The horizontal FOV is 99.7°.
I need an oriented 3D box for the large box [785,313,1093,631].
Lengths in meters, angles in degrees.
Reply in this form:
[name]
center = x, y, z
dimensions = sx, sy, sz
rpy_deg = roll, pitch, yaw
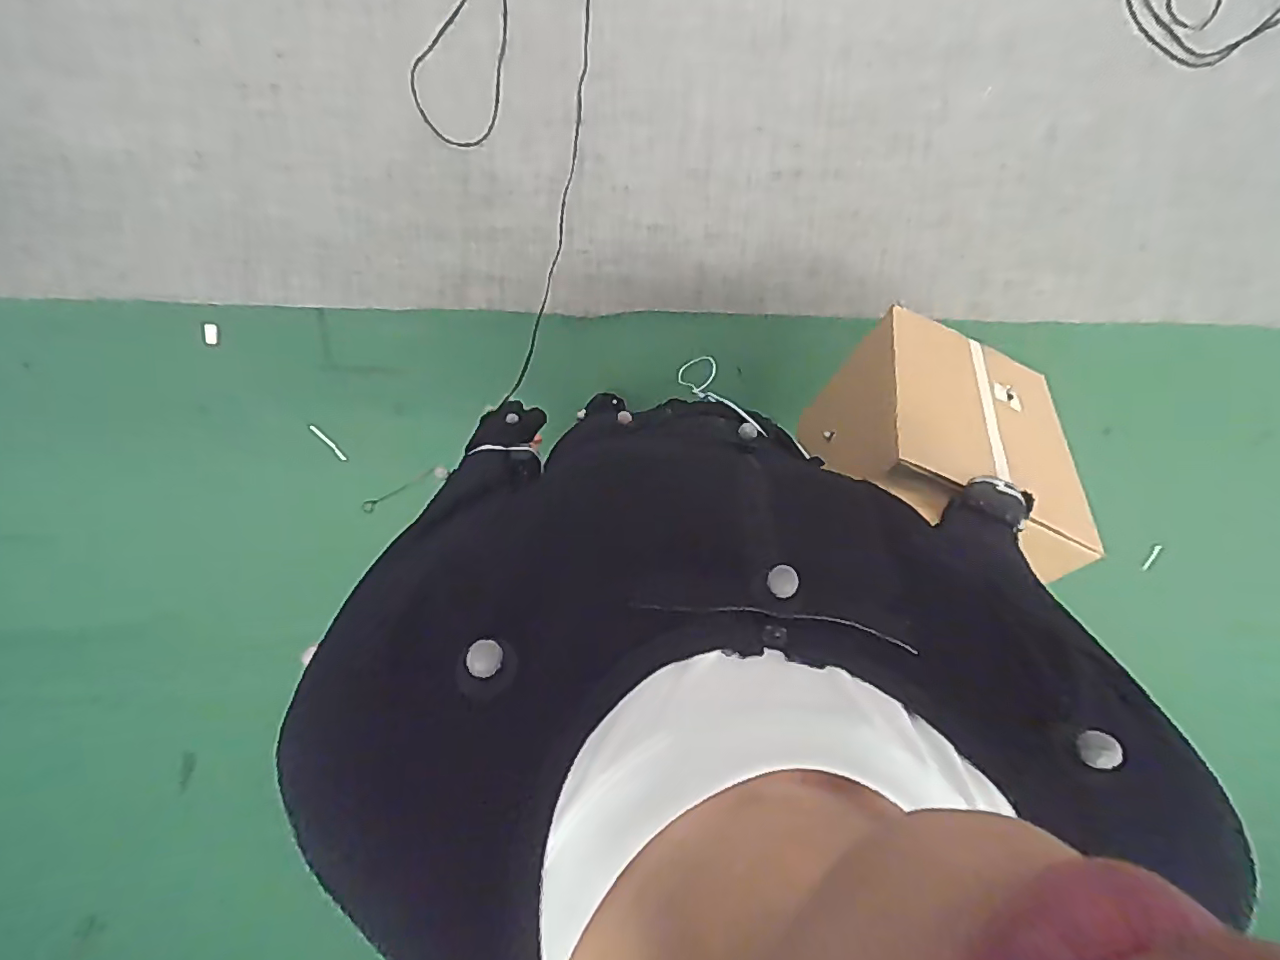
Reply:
[large box]
center = 0.482, -0.013, 0.960
dimensions = 0.320, 0.408, 0.320
rpy_deg = 25, 139, -4
